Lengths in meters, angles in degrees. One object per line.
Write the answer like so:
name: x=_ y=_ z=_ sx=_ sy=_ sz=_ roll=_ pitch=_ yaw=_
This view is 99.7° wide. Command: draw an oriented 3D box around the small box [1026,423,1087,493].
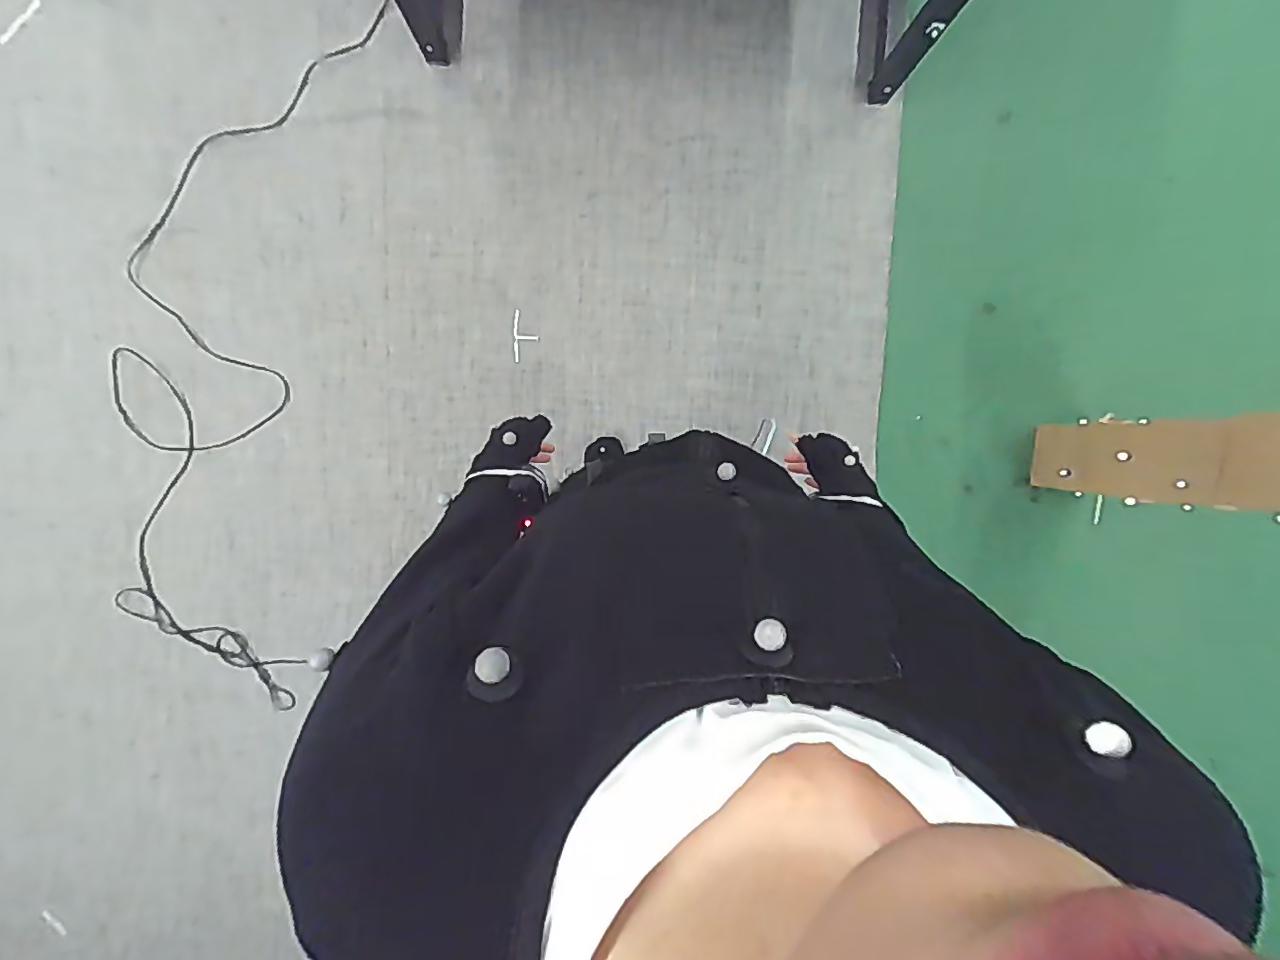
small box: x=1.173 y=-0.059 z=1.442 sx=0.168 sy=0.176 sz=0.179 roll=3 pitch=95 yaw=-3

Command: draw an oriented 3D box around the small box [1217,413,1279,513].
small box: x=1.188 y=-0.026 z=0.951 sx=0.168 sy=0.176 sz=0.179 roll=6 pitch=94 yaw=-3

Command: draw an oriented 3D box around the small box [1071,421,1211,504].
small box: x=1.172 y=-0.045 z=1.279 sx=0.168 sy=0.176 sz=0.179 roll=4 pitch=95 yaw=-2
